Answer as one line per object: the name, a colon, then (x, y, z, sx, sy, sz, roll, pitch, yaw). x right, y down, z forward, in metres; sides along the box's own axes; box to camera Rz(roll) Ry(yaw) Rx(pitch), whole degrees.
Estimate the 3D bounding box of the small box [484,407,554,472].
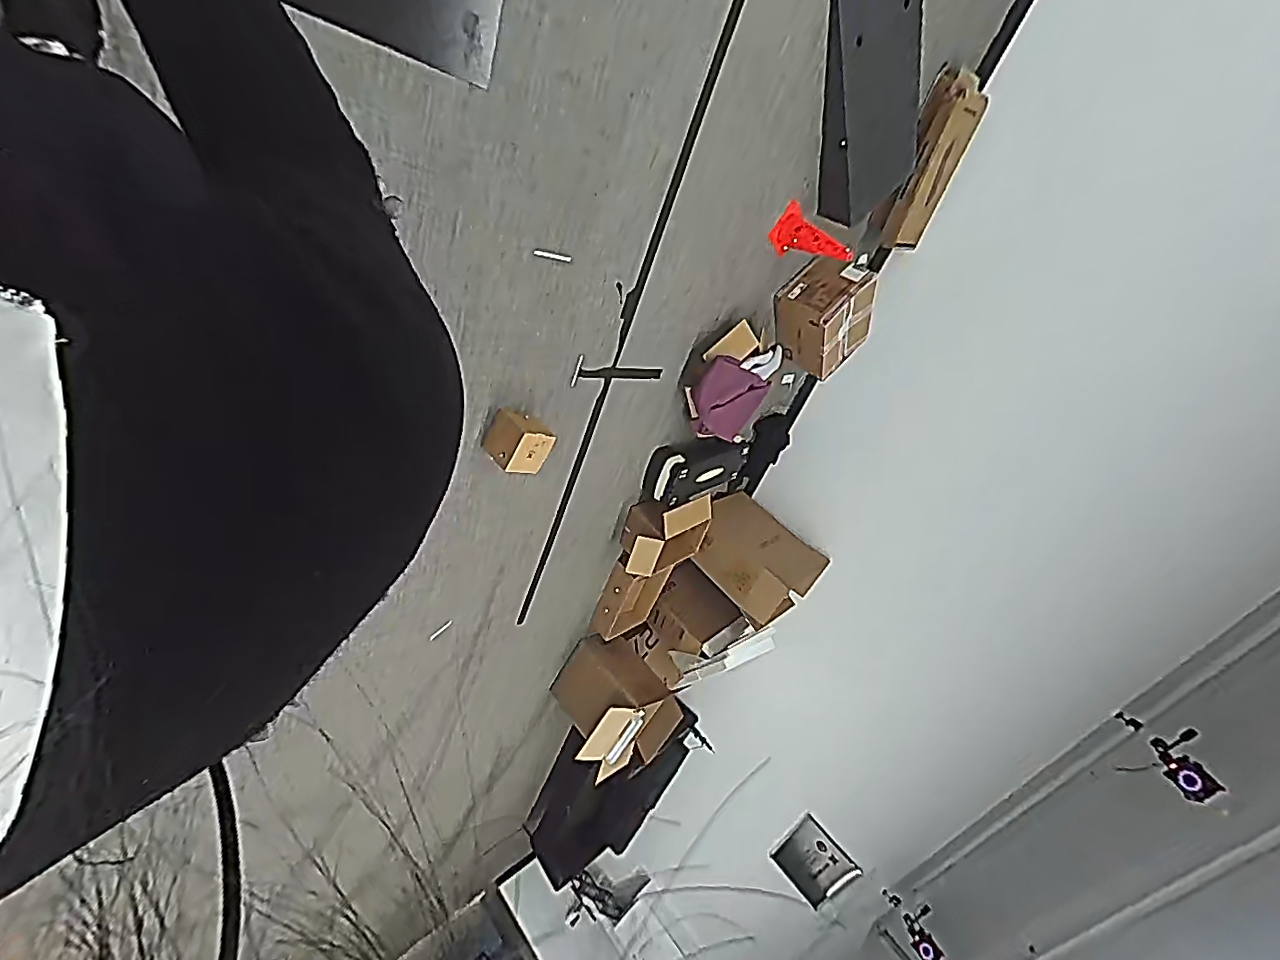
small box: (-0.466, -0.152, 2.057, 0.168, 0.176, 0.179, 4, 122, -55)
